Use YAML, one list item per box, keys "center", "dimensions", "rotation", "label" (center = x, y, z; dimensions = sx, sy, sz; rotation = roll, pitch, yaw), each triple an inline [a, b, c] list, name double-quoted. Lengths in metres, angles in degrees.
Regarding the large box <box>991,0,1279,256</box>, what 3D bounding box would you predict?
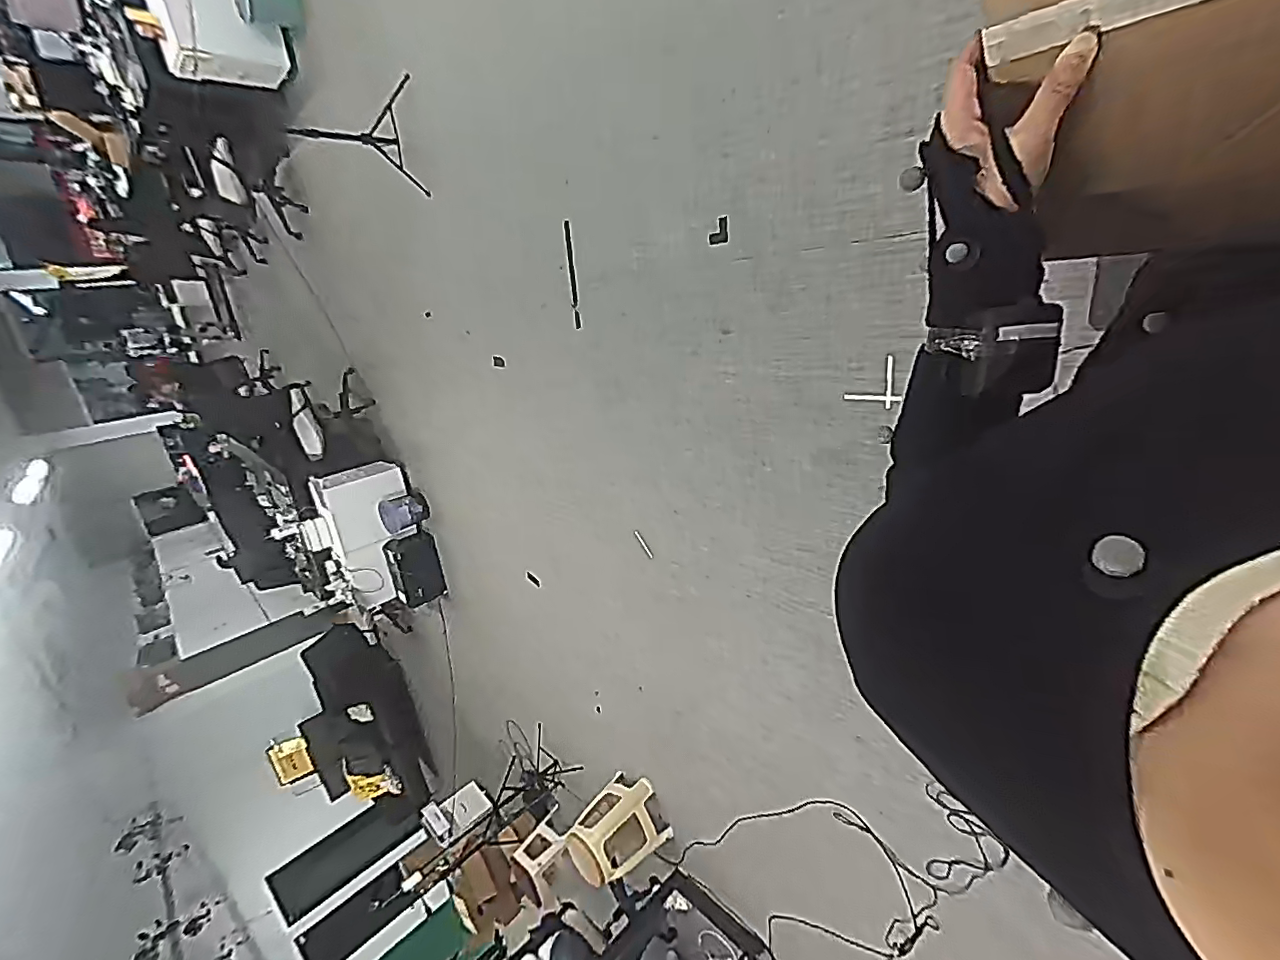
- center: [0.429, -0.354, 0.242]
  dimensions: [0.408, 0.320, 0.320]
  rotation: [13, 152, 45]
  label: "large box"
